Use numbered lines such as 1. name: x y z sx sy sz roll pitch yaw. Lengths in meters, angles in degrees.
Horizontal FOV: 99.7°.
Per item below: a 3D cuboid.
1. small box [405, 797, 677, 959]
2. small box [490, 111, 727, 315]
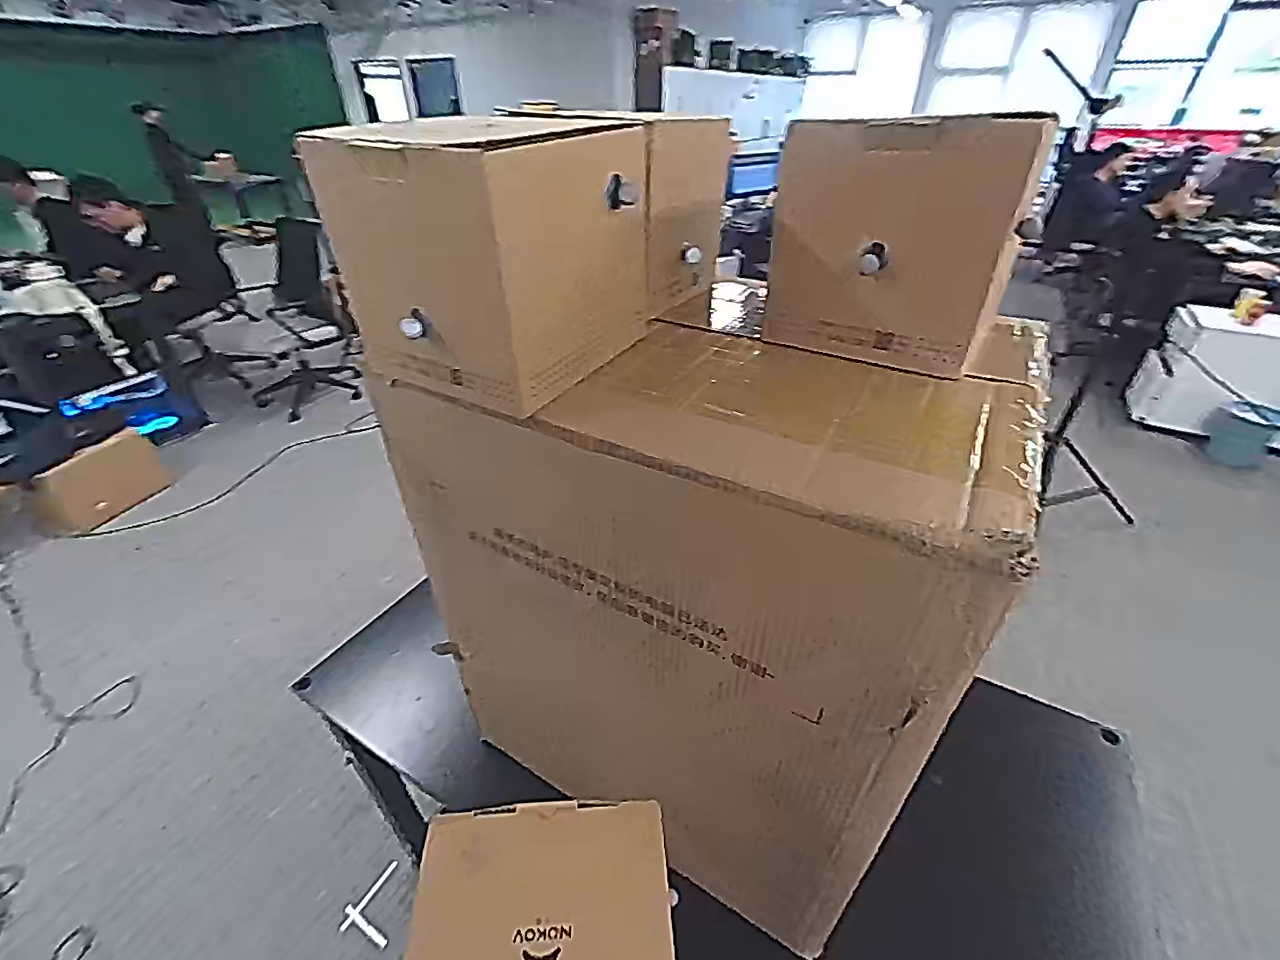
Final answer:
1. small box: -0.064 0.349 0.376 0.168 0.176 0.179 0 41 -5
2. small box: -0.028 -0.283 0.568 0.179 0.176 0.168 20 39 24
